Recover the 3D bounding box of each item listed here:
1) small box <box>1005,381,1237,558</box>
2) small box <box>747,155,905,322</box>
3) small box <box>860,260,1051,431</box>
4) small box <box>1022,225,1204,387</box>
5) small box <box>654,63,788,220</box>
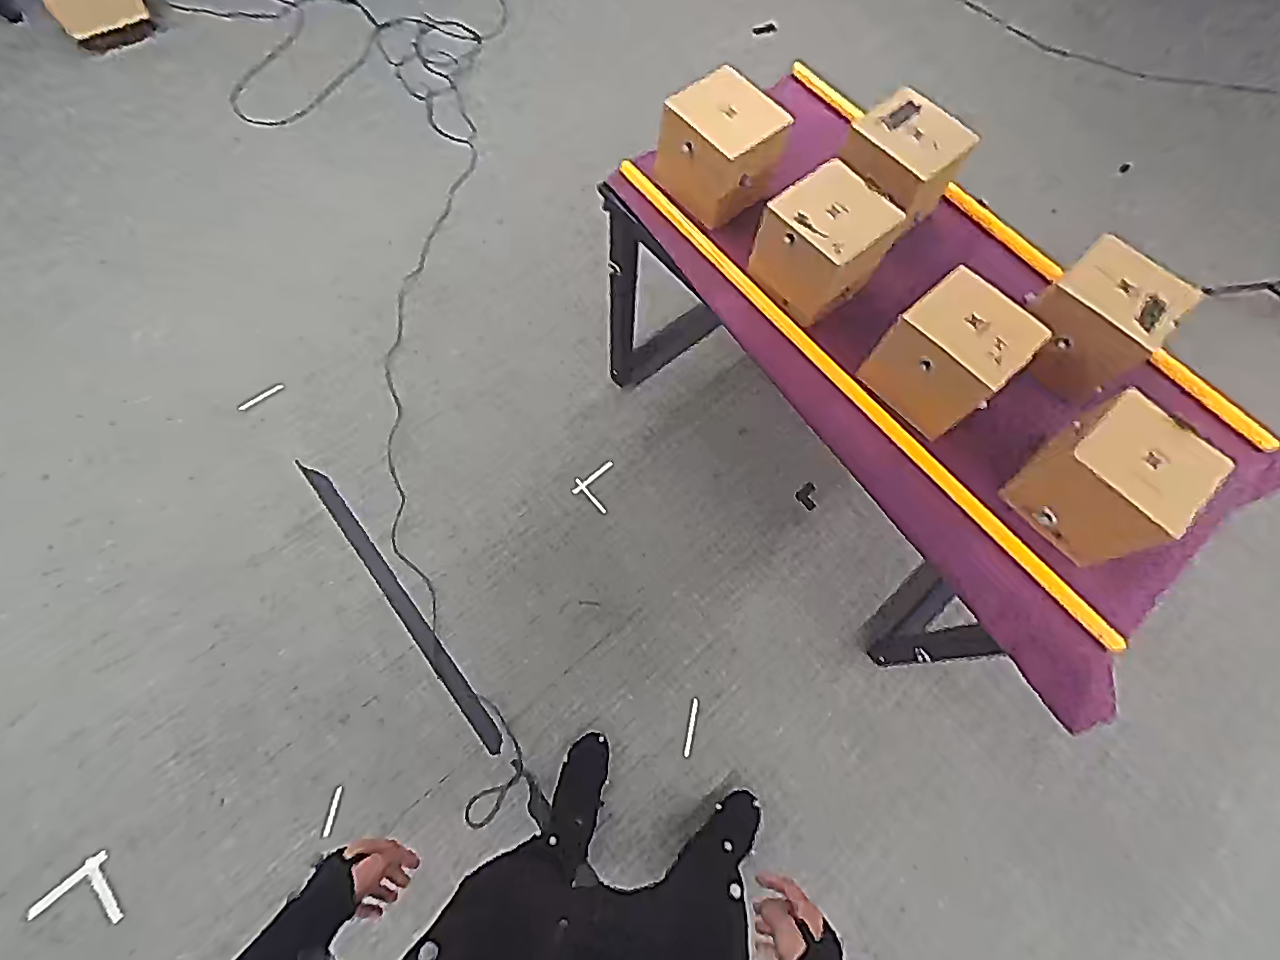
[{"bbox_3d":[0.708,-0.010,0.818,0.179,0.176,0.168,-38,74,-17],"label":"small box"},{"bbox_3d":[0.316,-0.420,0.958,0.179,0.176,0.168,-38,75,-15],"label":"small box"},{"bbox_3d":[0.501,-0.213,0.887,0.168,0.176,0.179,-39,76,-17],"label":"small box"},{"bbox_3d":[0.771,-0.284,0.926,0.168,0.176,0.179,-41,75,-15],"label":"small box"},{"bbox_3d":[0.144,-0.630,1.028,0.168,0.176,0.179,-39,76,-16],"label":"small box"}]
